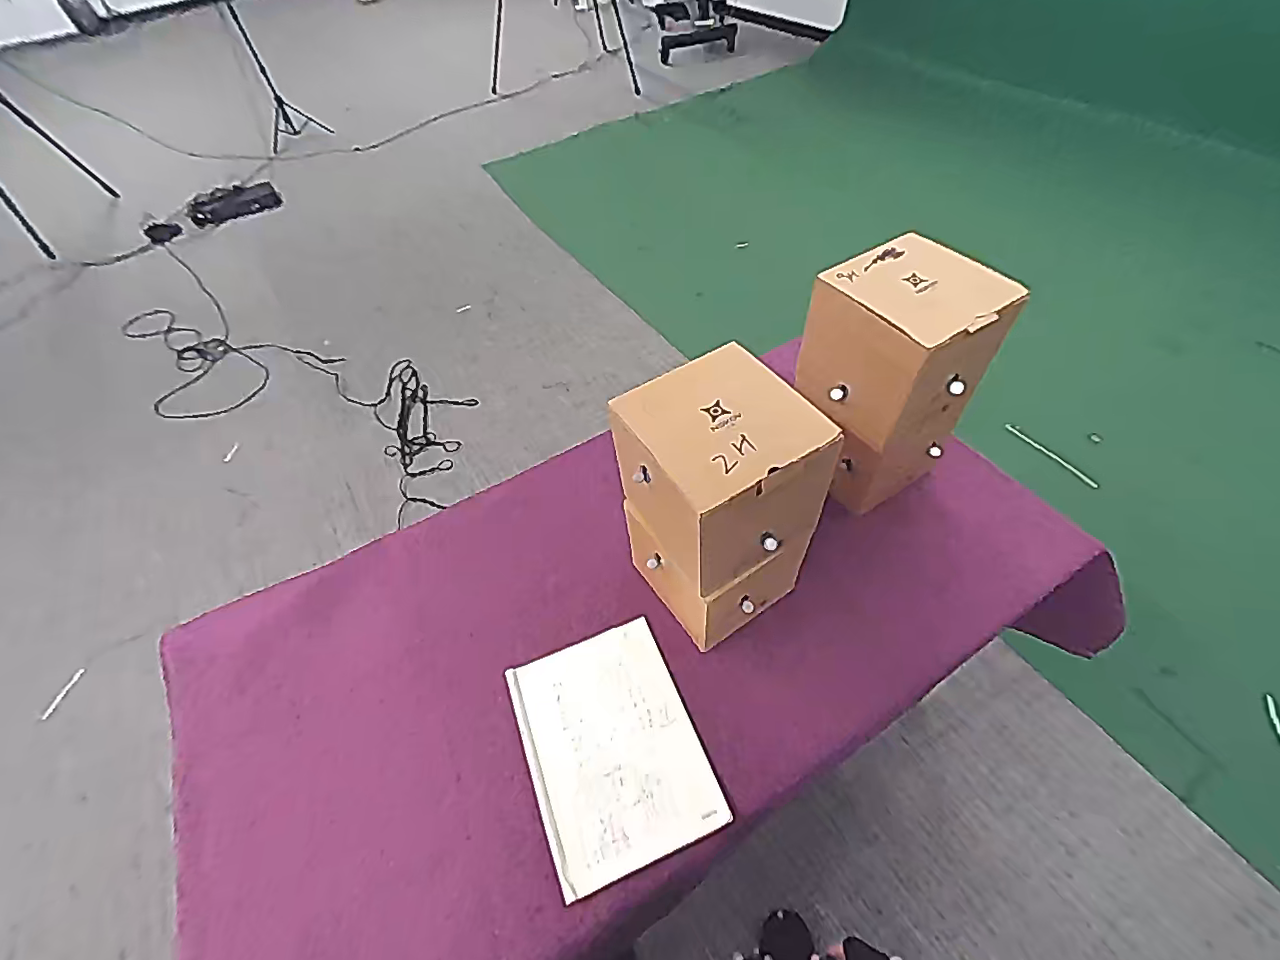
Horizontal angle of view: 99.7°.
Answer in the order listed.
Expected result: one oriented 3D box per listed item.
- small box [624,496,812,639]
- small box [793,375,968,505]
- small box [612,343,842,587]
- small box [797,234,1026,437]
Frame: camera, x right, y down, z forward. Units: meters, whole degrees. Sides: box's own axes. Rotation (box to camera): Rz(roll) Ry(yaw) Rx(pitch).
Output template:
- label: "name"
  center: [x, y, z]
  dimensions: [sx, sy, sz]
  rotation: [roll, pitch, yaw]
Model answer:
- label: "small box"
  center: [0.100, 0.090, 0.728]
  dimensions: [0.168, 0.176, 0.179]
  rotation: [-30, 56, -16]
- label: "small box"
  center: [0.348, -0.084, 0.834]
  dimensions: [0.168, 0.176, 0.179]
  rotation: [-27, 55, -15]
- label: "small box"
  center: [0.086, -0.014, 0.601]
  dimensions: [0.168, 0.176, 0.179]
  rotation: [-28, 55, -14]
- label: "small box"
  center: [0.332, -0.179, 0.700]
  dimensions: [0.168, 0.176, 0.179]
  rotation: [-27, 56, -16]
